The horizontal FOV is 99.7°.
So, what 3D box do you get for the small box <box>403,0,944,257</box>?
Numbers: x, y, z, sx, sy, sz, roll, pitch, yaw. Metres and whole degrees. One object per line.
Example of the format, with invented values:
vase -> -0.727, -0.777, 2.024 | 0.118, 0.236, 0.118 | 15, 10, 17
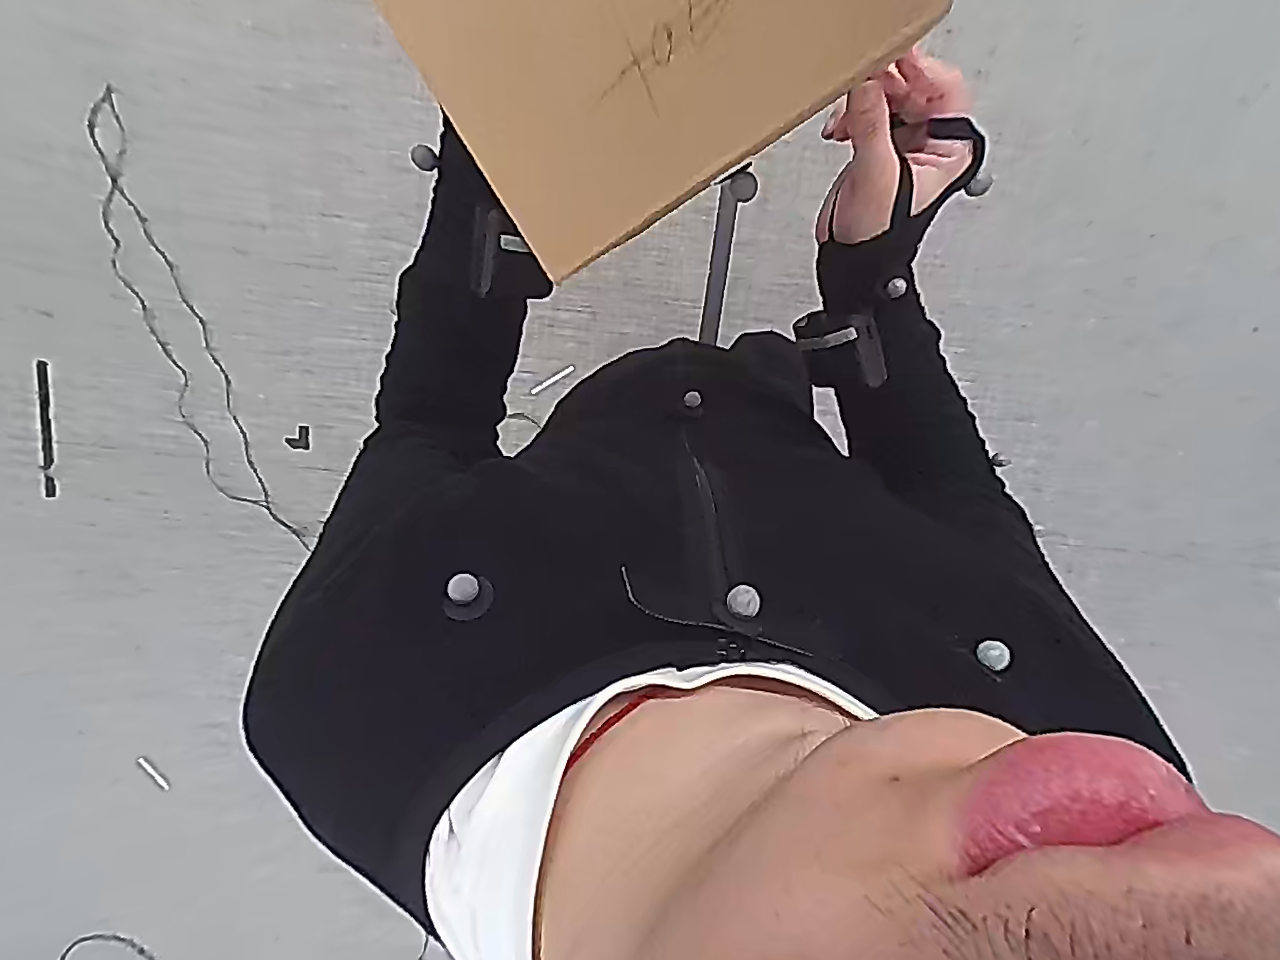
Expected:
small box -> 0.010, -0.234, 0.243 | 0.168, 0.176, 0.179 | -22, 113, 30
